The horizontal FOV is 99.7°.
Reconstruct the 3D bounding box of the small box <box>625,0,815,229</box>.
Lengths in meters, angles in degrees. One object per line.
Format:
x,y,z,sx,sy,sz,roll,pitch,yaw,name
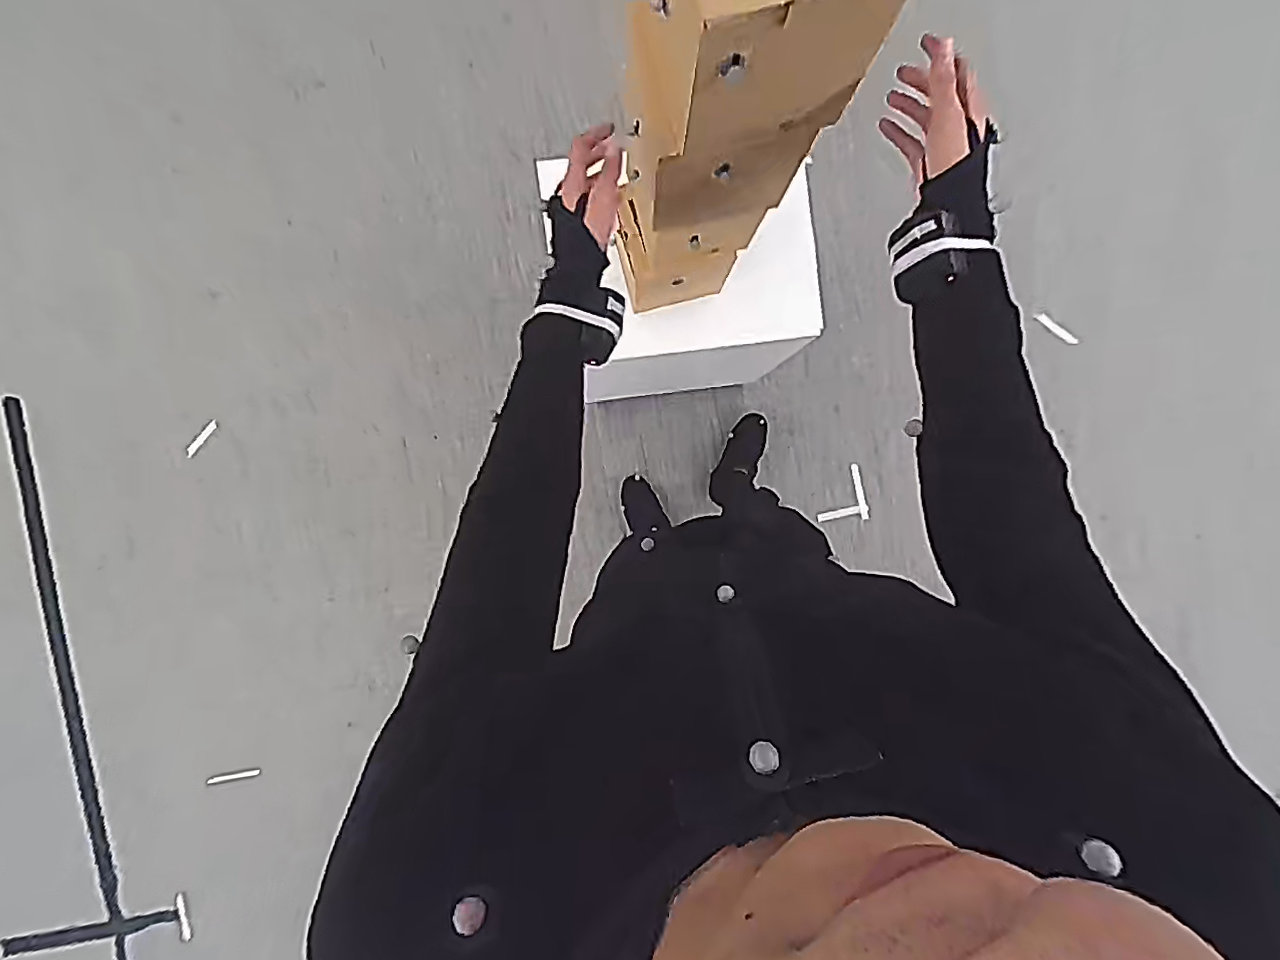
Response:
0.082,-0.424,0.642,0.179,0.176,0.168,-11,91,-2,small box

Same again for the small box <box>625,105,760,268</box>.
0.078,-0.437,0.806,0.168,0.176,0.179,-14,90,-2,small box

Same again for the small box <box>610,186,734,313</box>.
0.051,-0.416,0.968,0.179,0.176,0.168,-15,91,-2,small box
